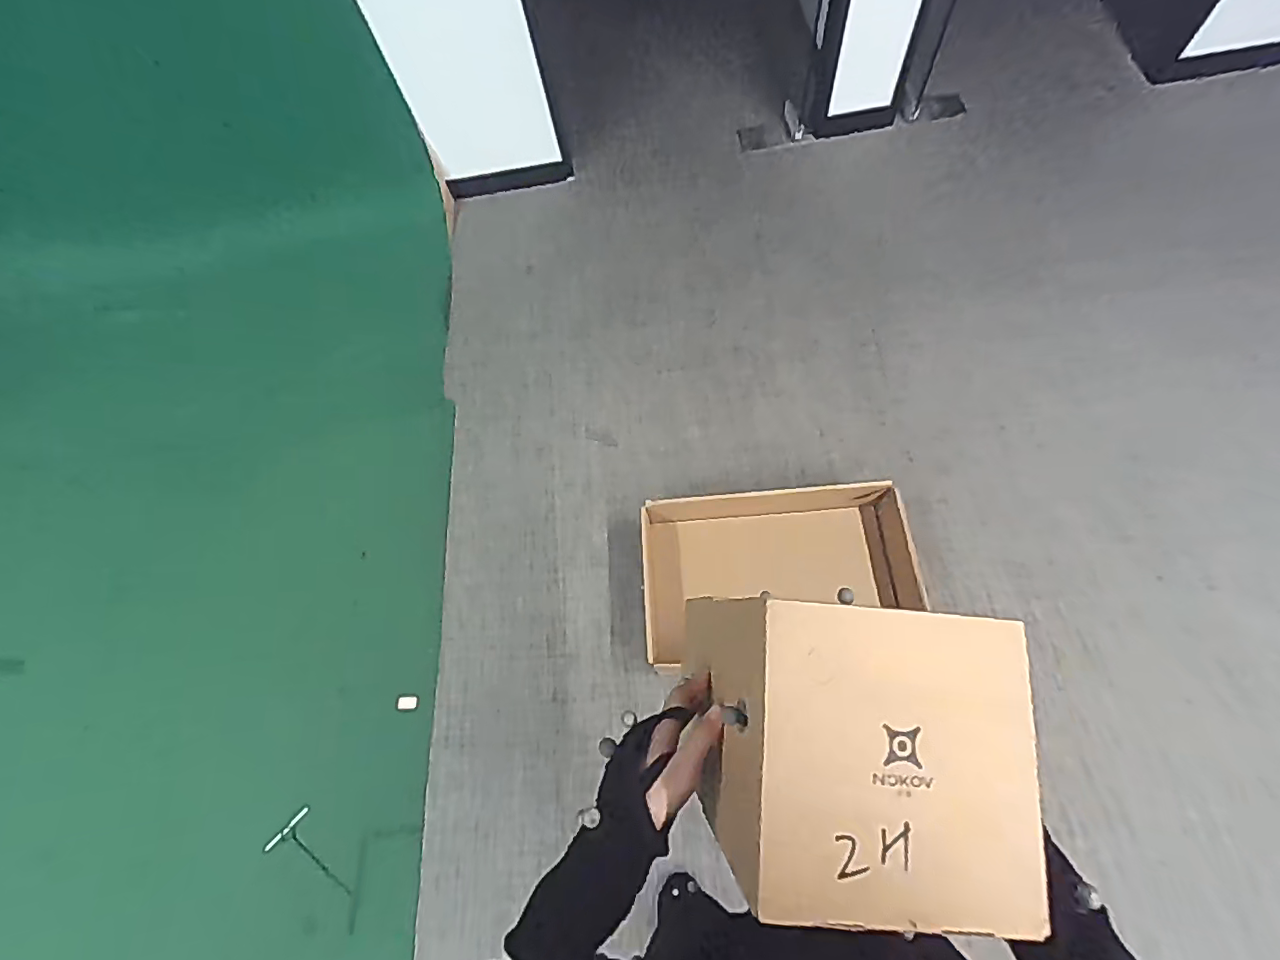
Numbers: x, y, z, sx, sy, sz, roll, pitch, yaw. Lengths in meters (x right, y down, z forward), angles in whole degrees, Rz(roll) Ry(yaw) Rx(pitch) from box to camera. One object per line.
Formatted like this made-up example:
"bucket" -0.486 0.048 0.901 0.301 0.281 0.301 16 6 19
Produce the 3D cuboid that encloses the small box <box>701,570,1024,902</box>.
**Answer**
"small box" 0.141 0.166 0.402 0.168 0.176 0.179 5 77 -1
